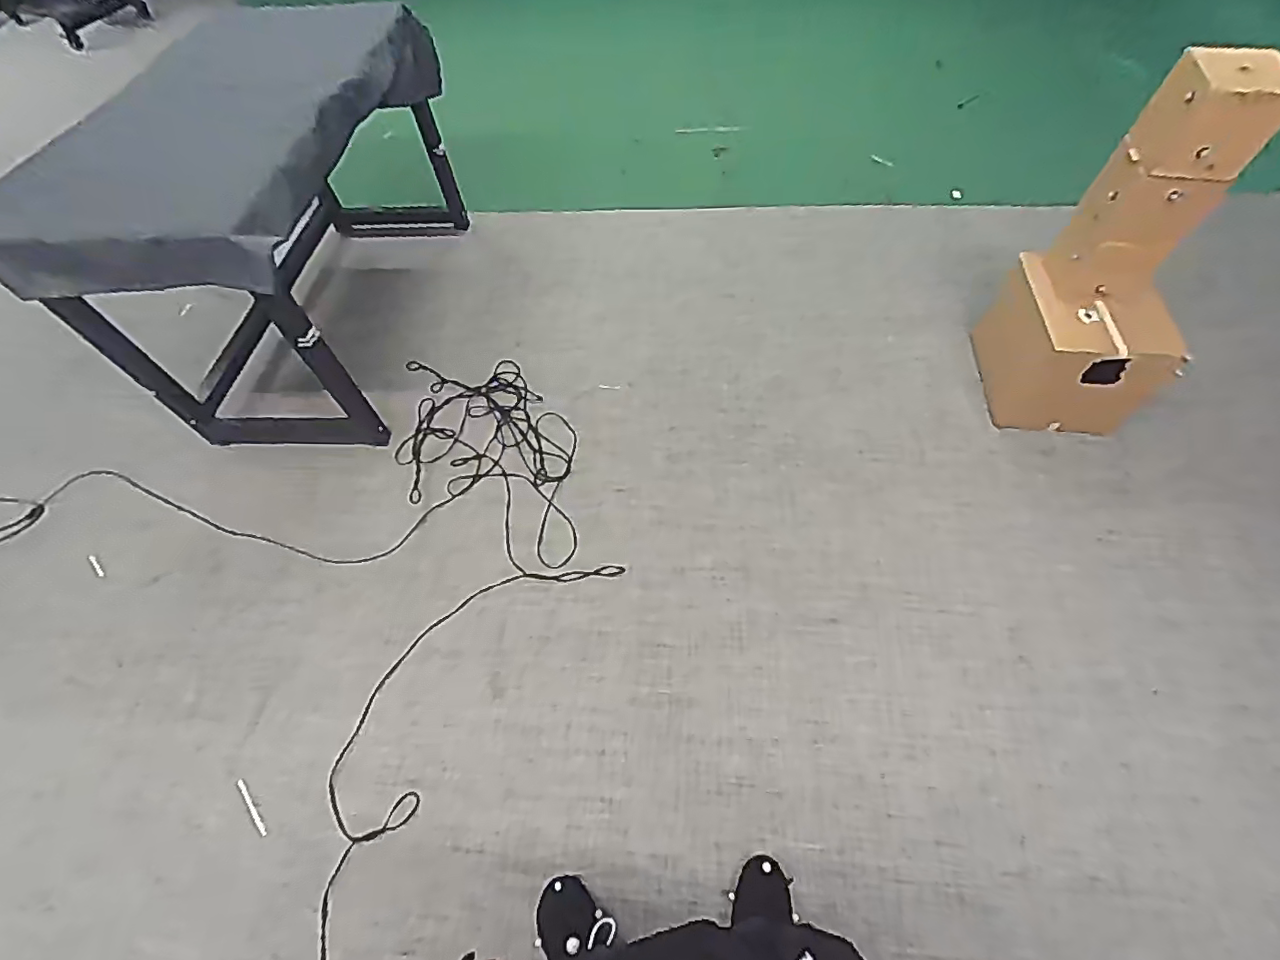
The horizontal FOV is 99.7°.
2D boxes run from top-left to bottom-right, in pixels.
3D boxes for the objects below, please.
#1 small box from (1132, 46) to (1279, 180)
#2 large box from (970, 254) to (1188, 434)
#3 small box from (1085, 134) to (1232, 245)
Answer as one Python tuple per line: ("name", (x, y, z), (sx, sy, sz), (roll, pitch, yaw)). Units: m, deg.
("small box", (1.184, -0.761, 1.126), (0.168, 0.176, 0.179), (9, 62, 8))
("large box", (1.221, -0.391, 1.566), (0.320, 0.320, 0.408), (4, 59, 7))
("small box", (1.191, -0.676, 1.265), (0.179, 0.176, 0.168), (8, 61, 7))
